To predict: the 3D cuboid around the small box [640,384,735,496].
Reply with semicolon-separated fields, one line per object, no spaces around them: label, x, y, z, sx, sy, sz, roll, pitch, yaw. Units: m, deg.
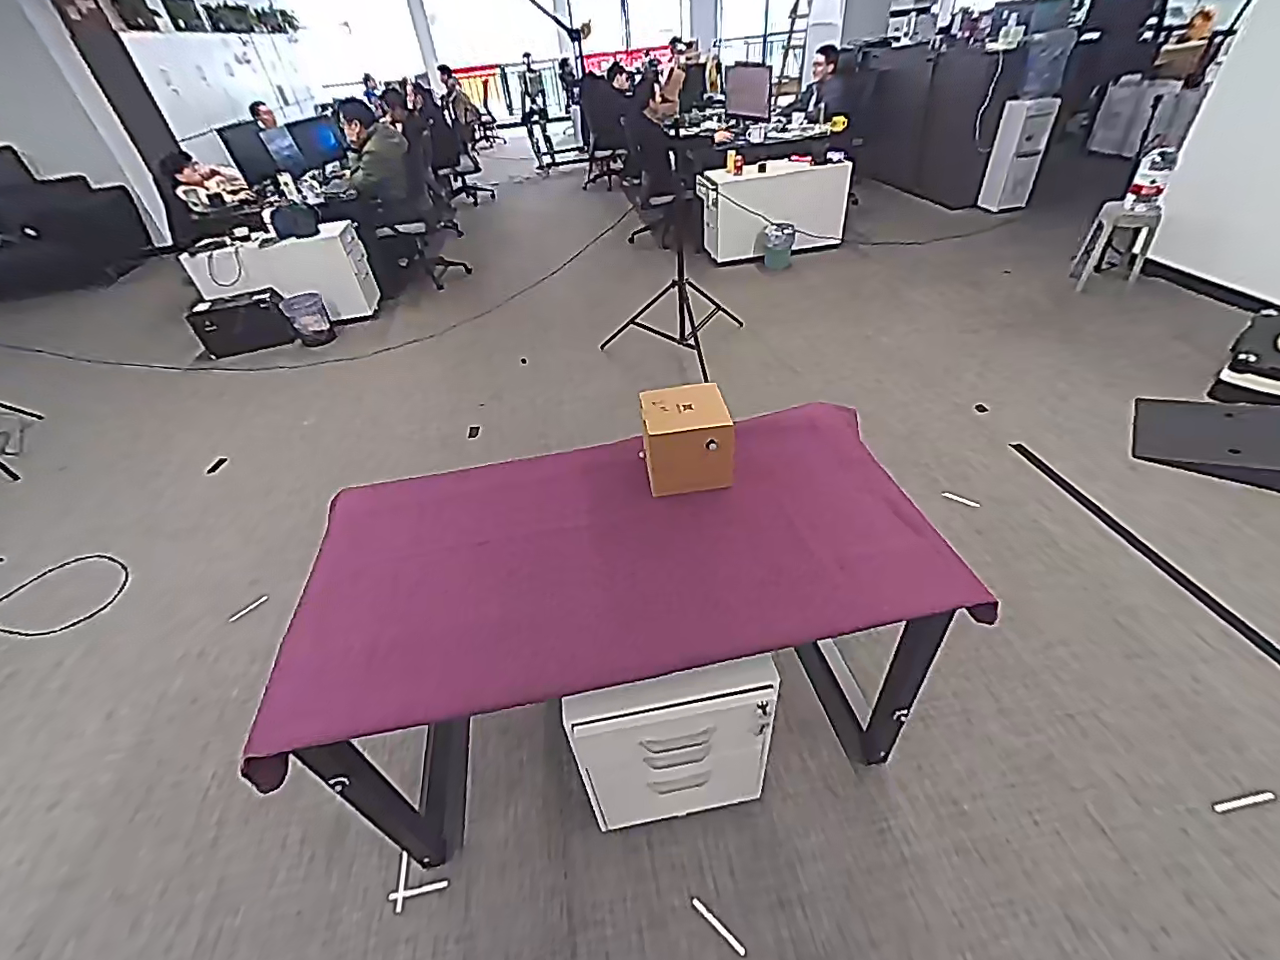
small box;0.100;-0.085;1.179;0.179;0.176;0.168;-8;41;-1
